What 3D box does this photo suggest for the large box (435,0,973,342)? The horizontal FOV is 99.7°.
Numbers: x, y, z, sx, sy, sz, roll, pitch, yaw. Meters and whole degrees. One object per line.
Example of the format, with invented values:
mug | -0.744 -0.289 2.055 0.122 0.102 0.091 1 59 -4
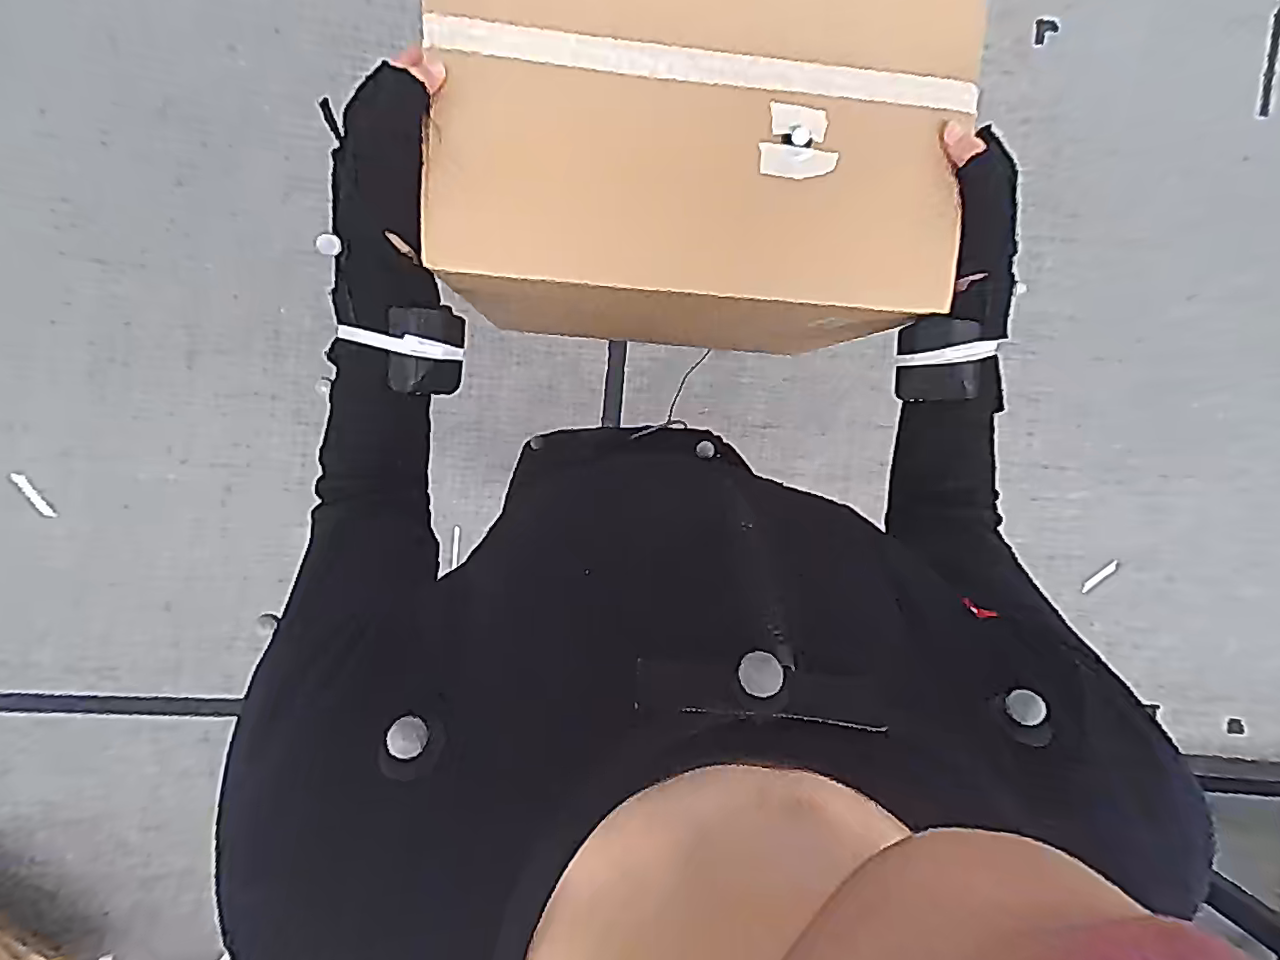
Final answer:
large box | 0.036 -0.325 0.547 0.408 0.320 0.320 3 98 -6
